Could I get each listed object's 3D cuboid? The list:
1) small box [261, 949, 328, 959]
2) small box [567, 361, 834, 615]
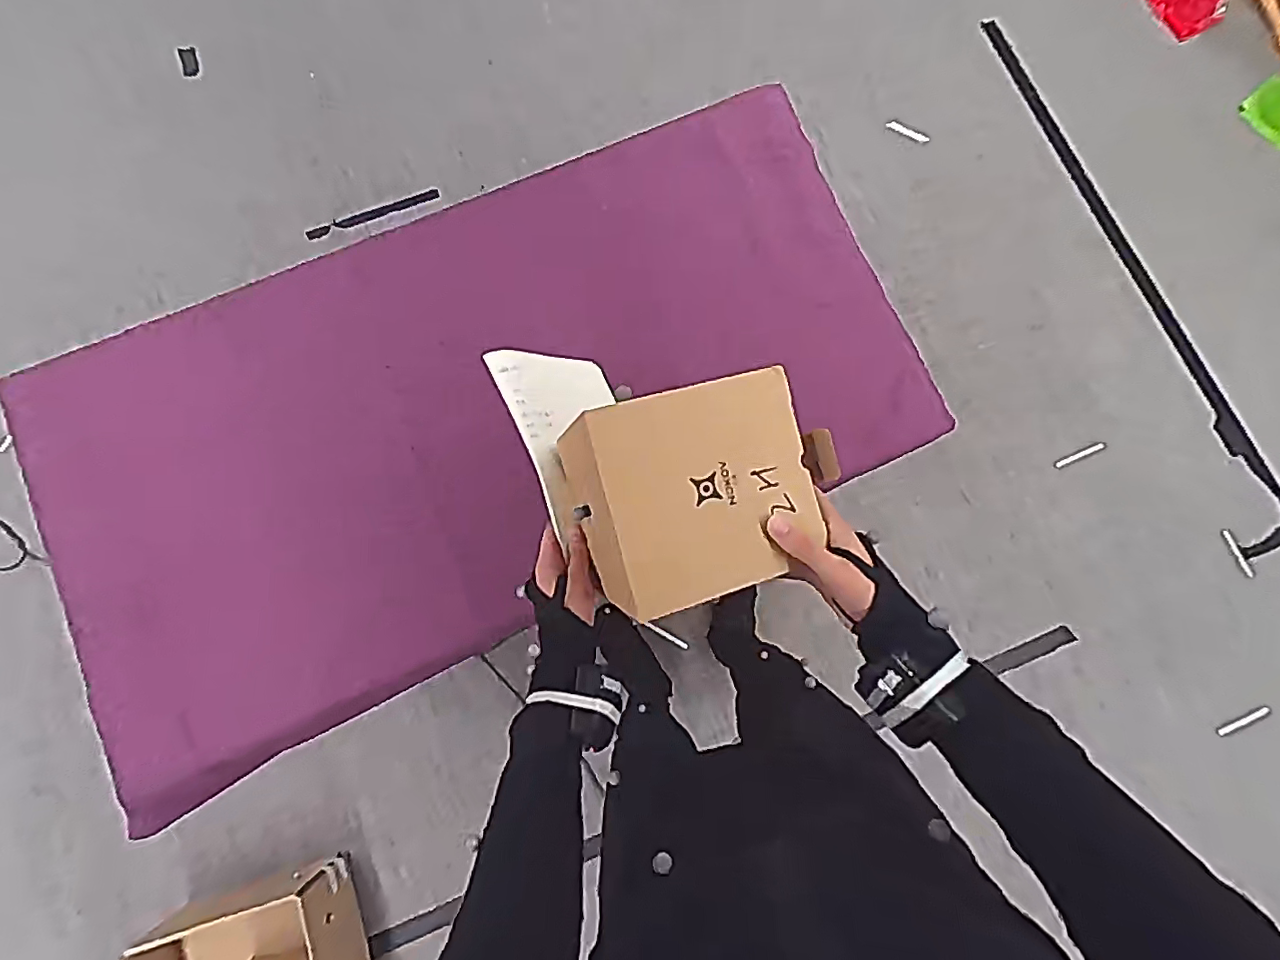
[{"bbox_3d":[-0.803,1.176,1.178,0.179,0.176,0.168,-9,83,-2],"label":"small box"},{"bbox_3d":[0.037,0.007,0.492,0.179,0.176,0.168,-15,91,-16],"label":"small box"}]
